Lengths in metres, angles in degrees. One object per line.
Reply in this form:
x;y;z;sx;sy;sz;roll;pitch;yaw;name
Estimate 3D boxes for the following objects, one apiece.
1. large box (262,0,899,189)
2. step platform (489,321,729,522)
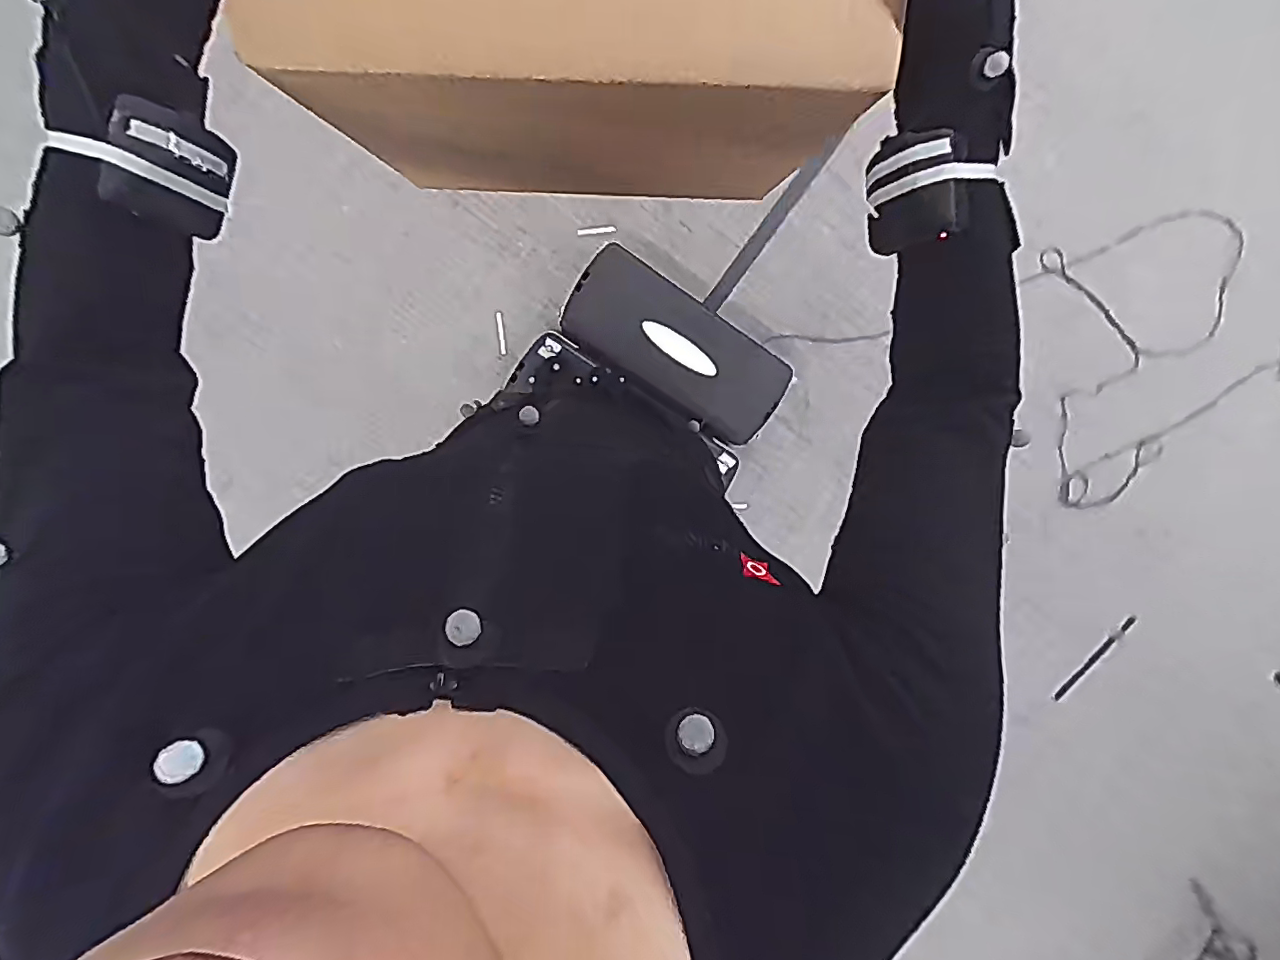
-0.040;-0.449;0.448;0.408;0.320;0.320;0;107;-4;large box
-0.083;-0.161;1.559;0.684;0.204;0.286;32;99;-9;step platform
